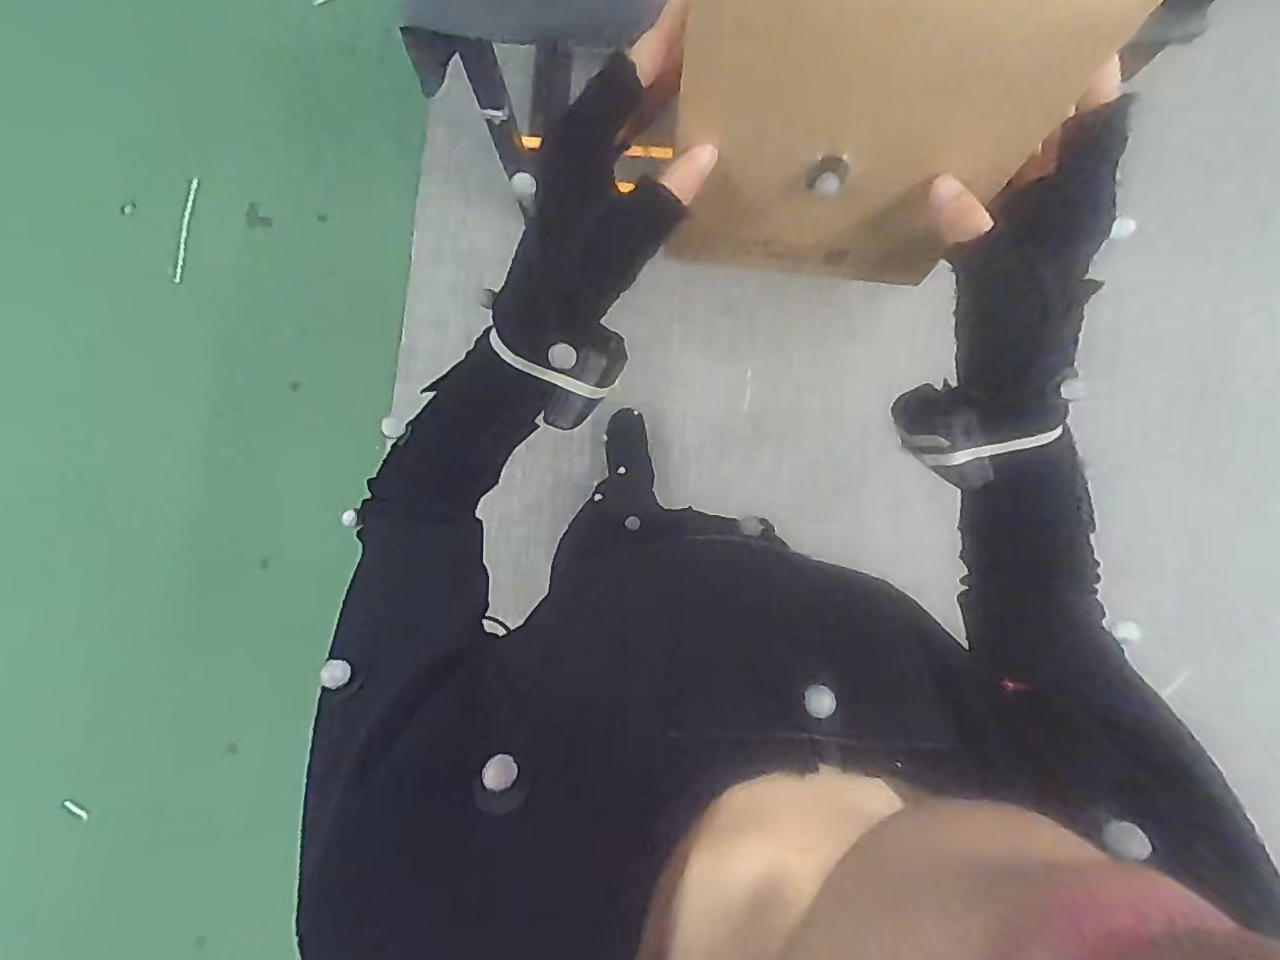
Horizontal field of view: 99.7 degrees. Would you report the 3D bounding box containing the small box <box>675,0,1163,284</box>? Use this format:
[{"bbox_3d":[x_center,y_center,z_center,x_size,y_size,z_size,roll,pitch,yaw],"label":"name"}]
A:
[{"bbox_3d":[0.112,-0.232,0.290,0.168,0.176,0.179,6,74,-1],"label":"small box"}]
